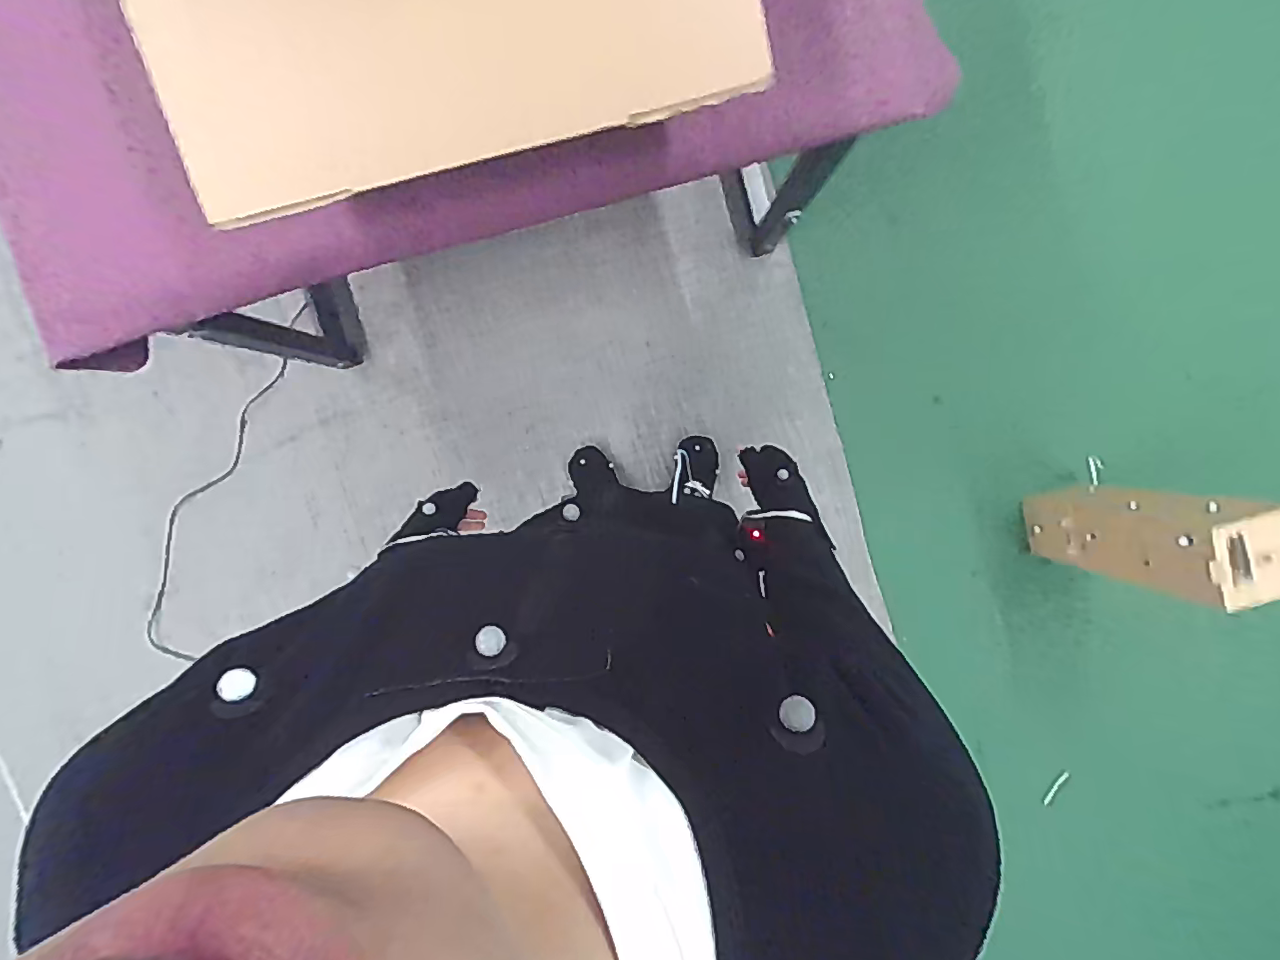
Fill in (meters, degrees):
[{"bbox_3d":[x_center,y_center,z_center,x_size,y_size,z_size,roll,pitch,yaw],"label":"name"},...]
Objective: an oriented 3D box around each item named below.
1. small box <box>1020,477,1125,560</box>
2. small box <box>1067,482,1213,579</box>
[{"bbox_3d":[1.154,0.094,1.423,0.179,0.176,0.168,-14,96,1],"label":"small box"},{"bbox_3d":[1.156,0.110,1.261,0.179,0.176,0.168,-16,96,1],"label":"small box"}]
